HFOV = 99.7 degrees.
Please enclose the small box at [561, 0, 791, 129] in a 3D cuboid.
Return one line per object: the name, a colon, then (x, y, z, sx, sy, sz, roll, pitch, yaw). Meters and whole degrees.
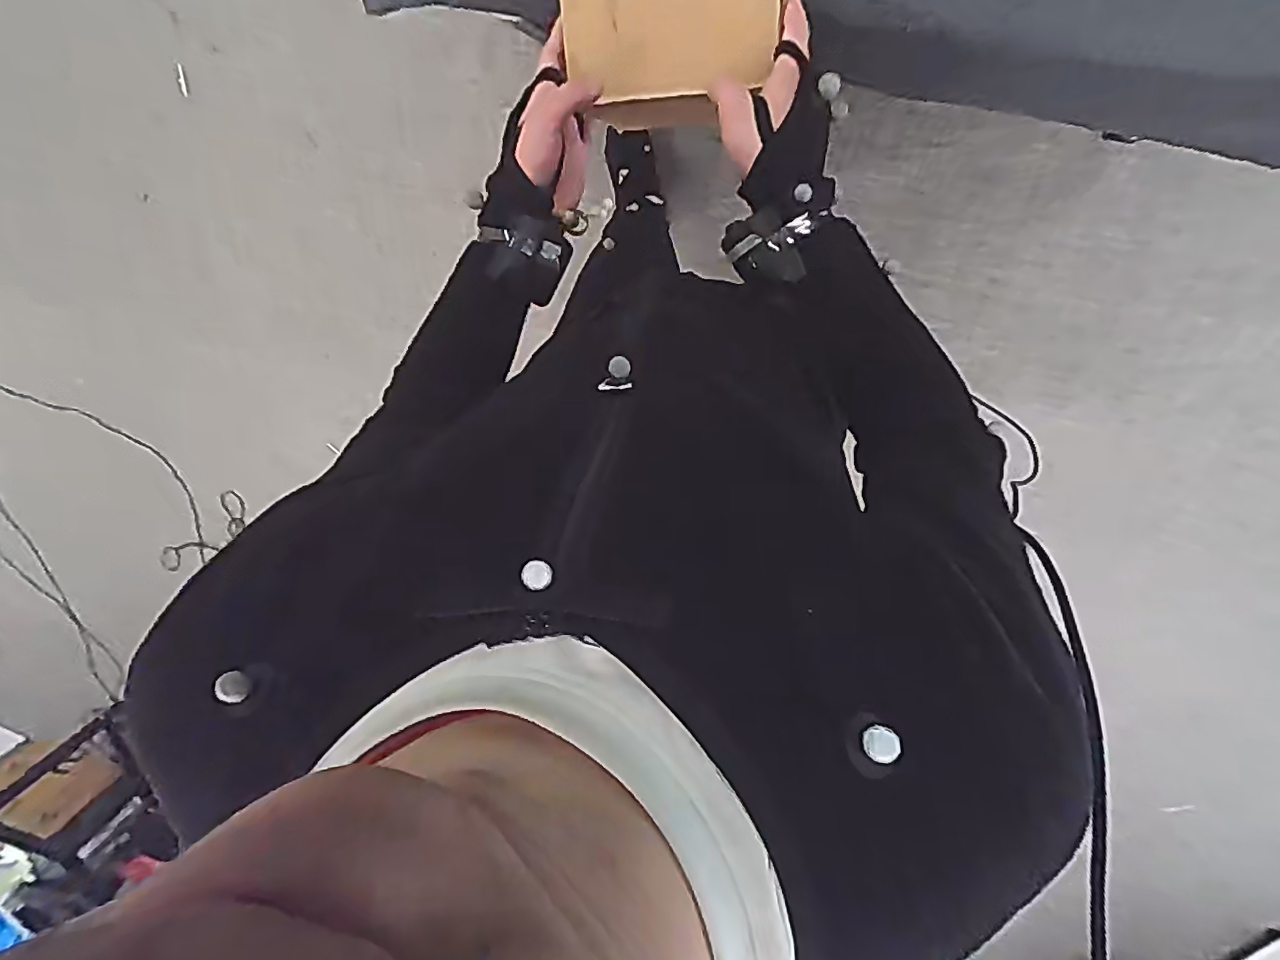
small box: (0.039, -0.414, 0.465, 0.179, 0.176, 0.168, 4, 115, 12)
